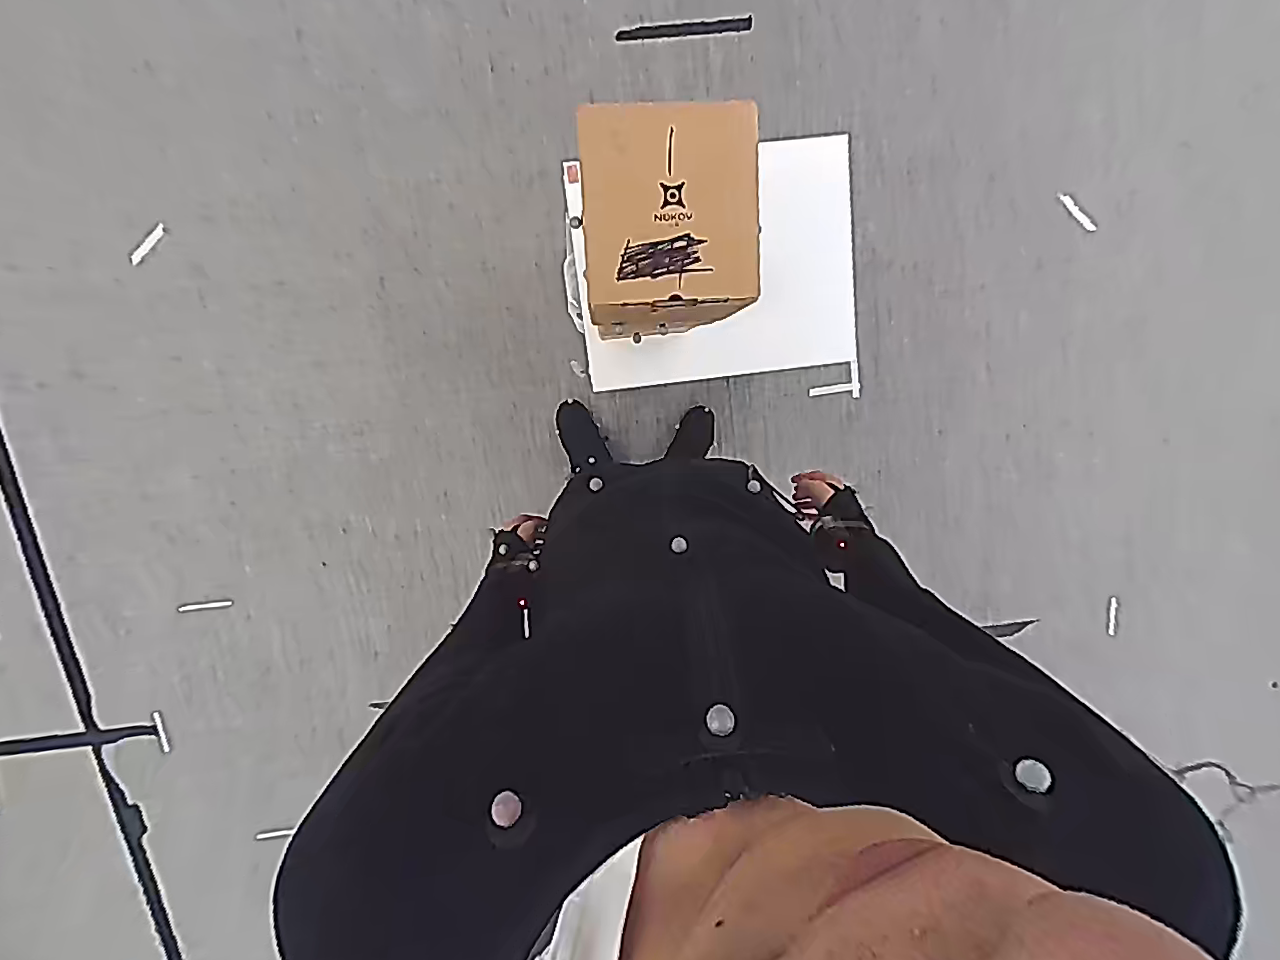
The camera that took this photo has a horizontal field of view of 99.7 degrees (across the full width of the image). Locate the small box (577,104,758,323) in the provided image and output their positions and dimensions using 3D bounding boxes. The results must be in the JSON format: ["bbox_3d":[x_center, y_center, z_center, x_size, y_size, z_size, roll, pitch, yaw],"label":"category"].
[{"bbox_3d":[0.023,-0.264,0.576,0.168,0.176,0.179,-3,100,-4],"label":"small box"}]

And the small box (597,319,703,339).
[{"bbox_3d":[0.006,-0.331,0.898,0.168,0.176,0.179,-7,101,-4],"label":"small box"}]
